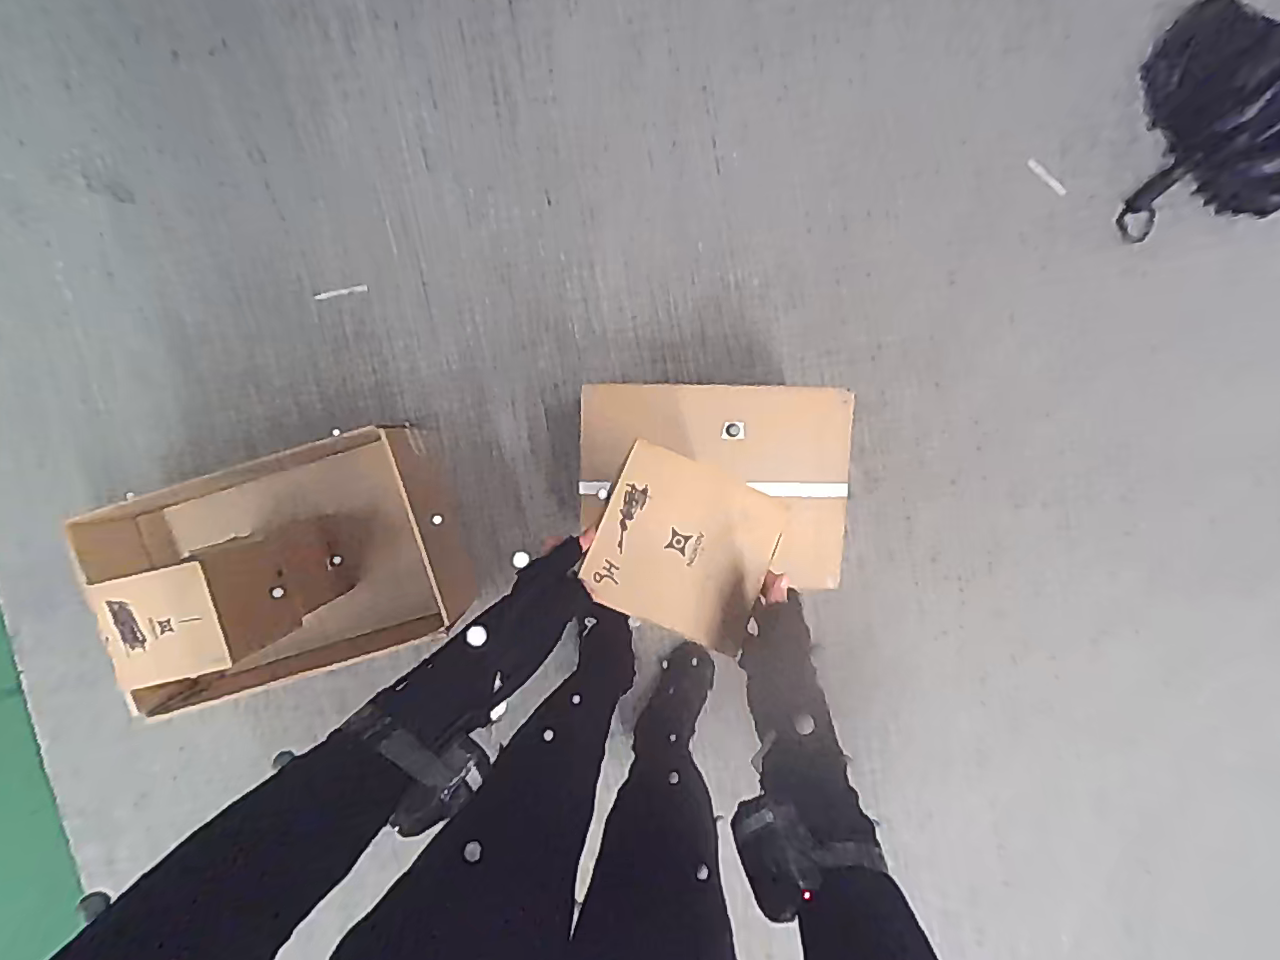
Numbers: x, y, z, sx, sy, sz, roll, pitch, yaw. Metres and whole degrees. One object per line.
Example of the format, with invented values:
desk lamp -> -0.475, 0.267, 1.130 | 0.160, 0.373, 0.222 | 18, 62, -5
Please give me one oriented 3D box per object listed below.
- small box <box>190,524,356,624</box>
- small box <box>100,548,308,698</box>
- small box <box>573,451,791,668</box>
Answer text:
small box -> -0.684, 0.193, 1.029 | 0.179, 0.176, 0.168 | -16, 95, 1
small box -> -0.681, 0.218, 0.866 | 0.179, 0.176, 0.168 | -13, 95, 1
small box -> 0.035, 0.087, 0.610 | 0.179, 0.176, 0.168 | 24, 79, -4
